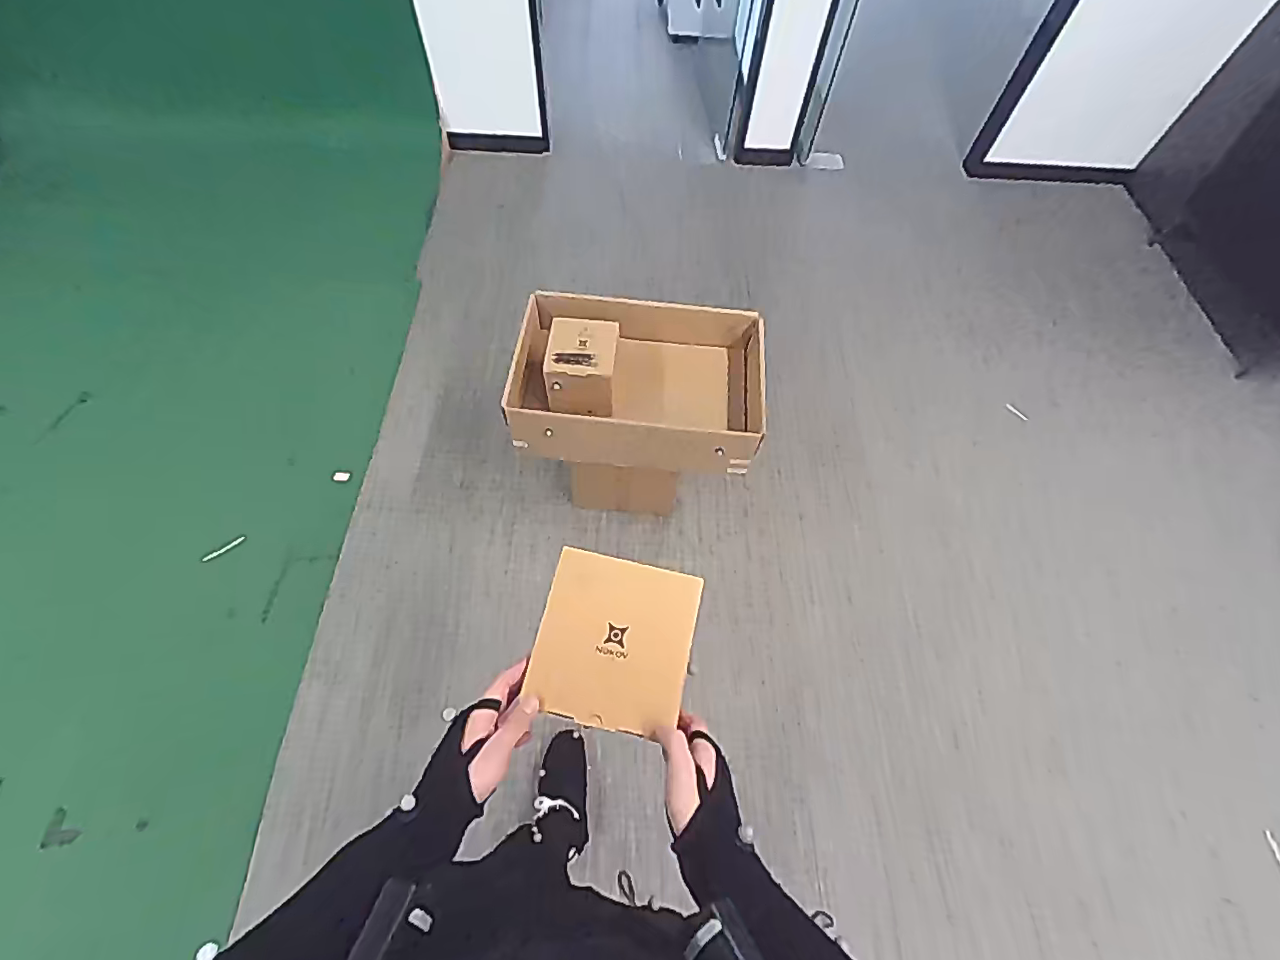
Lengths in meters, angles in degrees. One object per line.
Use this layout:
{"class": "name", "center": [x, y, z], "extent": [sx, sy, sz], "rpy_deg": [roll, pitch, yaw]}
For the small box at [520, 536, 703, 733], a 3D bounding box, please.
{"class": "small box", "center": [-0.030, 0.187, 0.654], "extent": [0.168, 0.176, 0.179], "rpy_deg": [13, 70, 3]}
